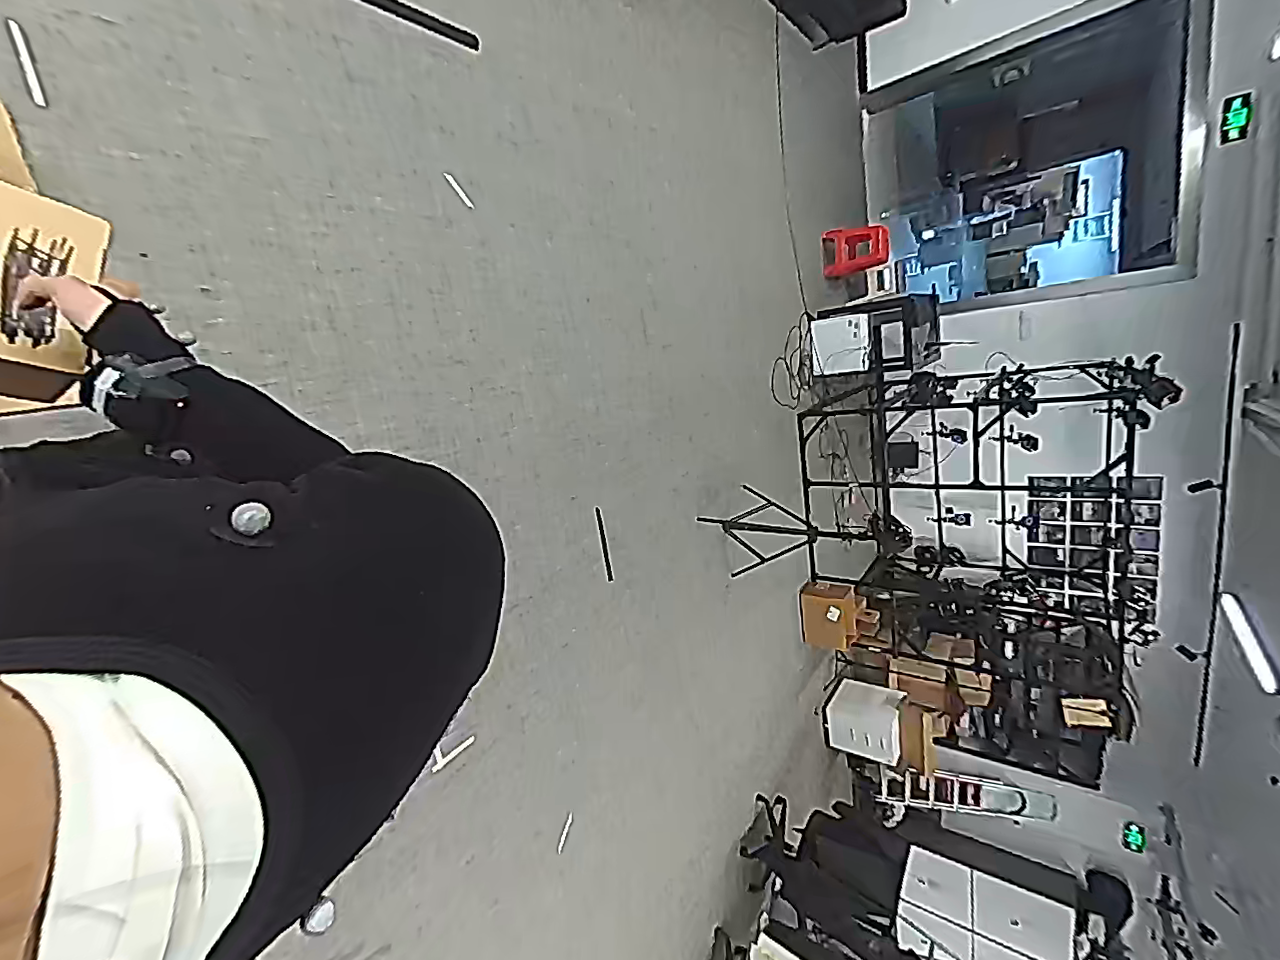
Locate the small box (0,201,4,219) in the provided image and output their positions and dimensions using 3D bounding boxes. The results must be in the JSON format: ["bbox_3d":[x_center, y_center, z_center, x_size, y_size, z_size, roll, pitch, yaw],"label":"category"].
[{"bbox_3d":[-1.262,-0.536,0.930,0.168,0.176,0.179,-30,114,-48],"label":"small box"}]
